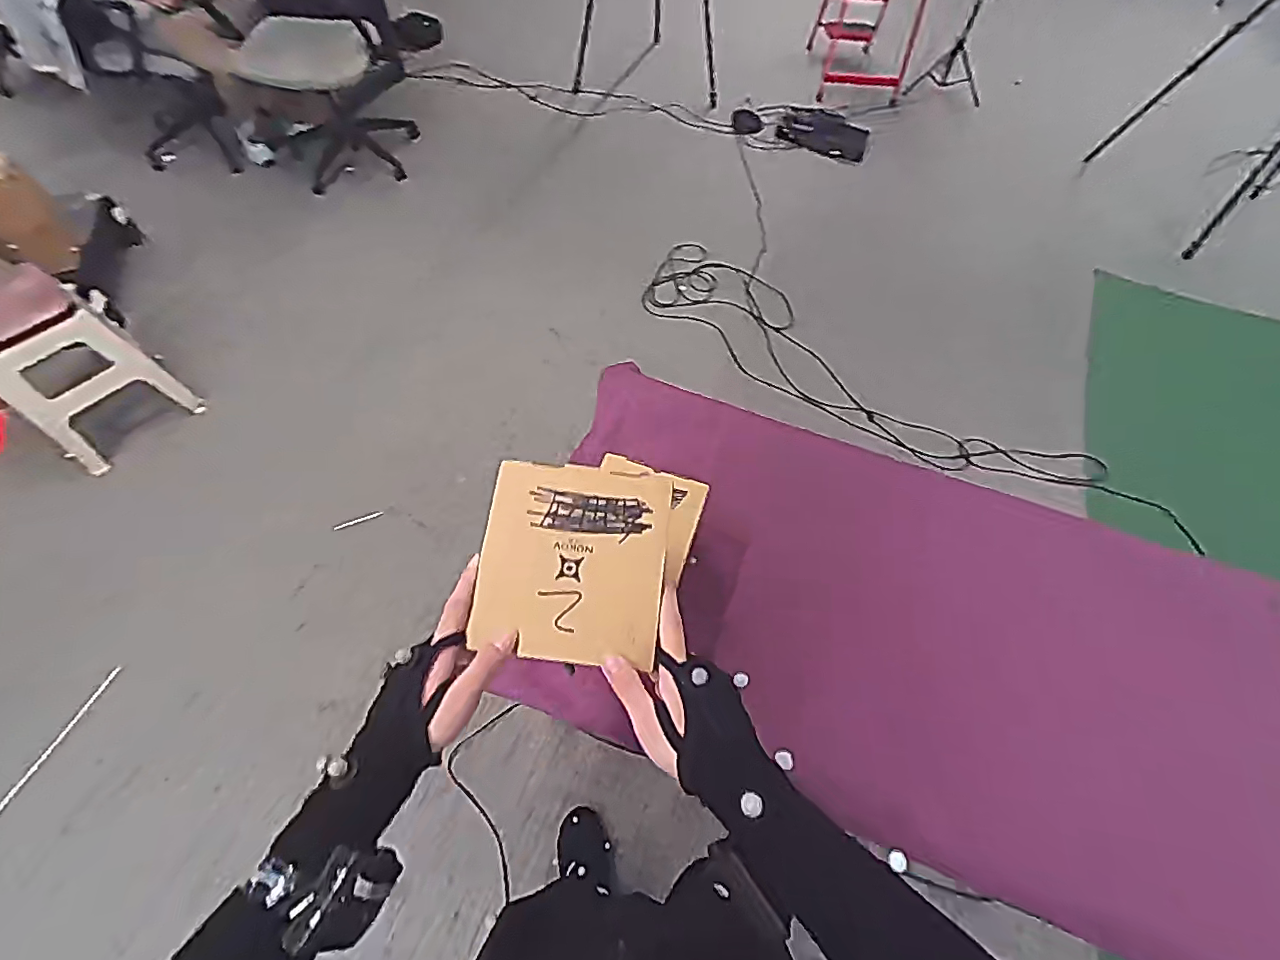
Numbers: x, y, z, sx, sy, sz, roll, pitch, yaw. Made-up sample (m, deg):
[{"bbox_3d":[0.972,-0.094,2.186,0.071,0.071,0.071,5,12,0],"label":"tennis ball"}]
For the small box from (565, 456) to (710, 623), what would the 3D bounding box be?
[{"bbox_3d":[-0.005,0.097,0.839,0.168,0.176,0.179,18,61,8],"label":"small box"}]
